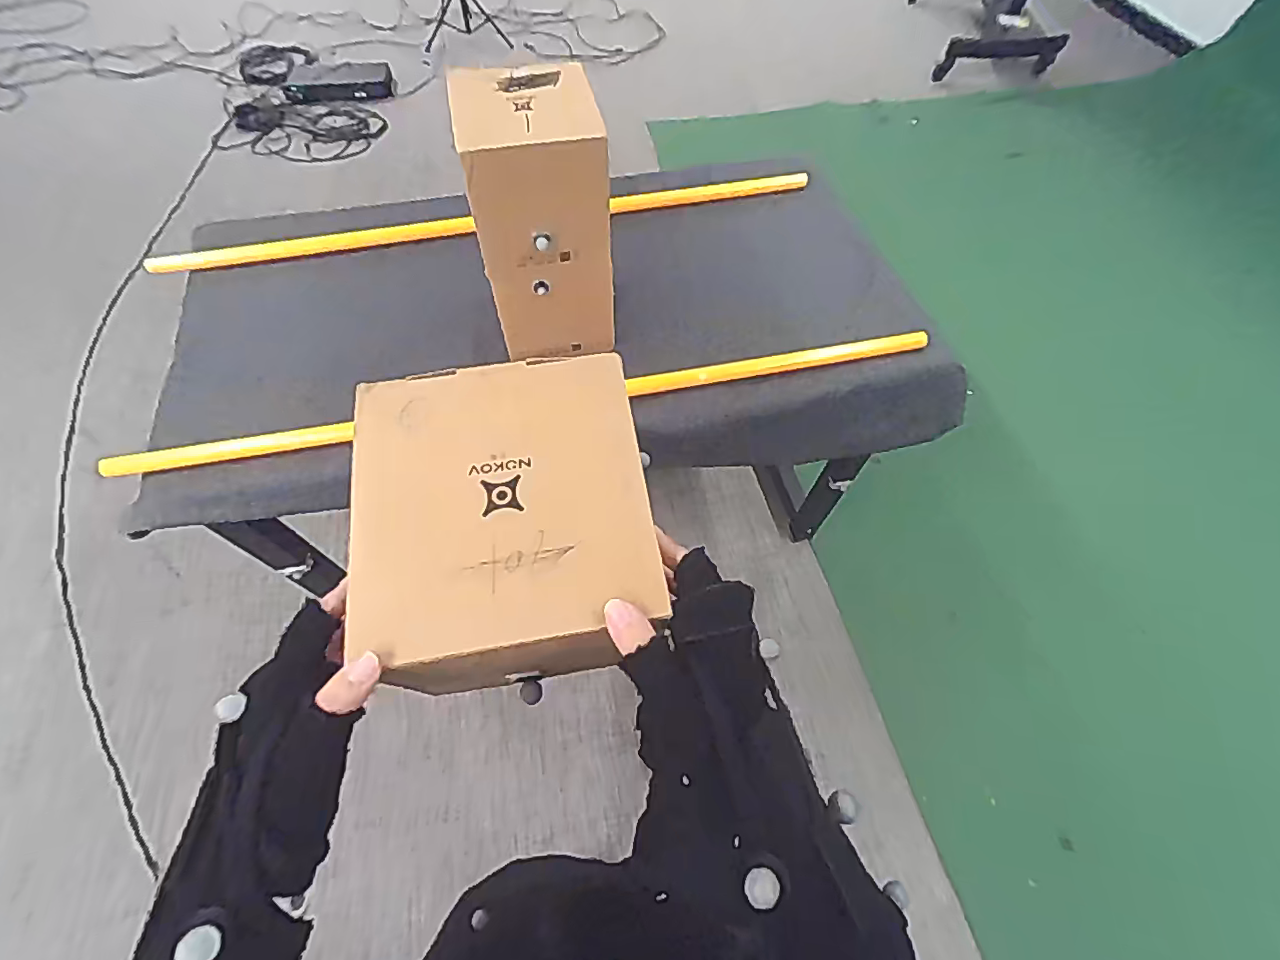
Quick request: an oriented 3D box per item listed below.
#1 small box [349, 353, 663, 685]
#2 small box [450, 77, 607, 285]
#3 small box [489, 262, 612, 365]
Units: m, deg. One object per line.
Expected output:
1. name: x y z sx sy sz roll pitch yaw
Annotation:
1. small box: -0.084 0.037 0.389 0.168 0.176 0.179 -8 65 -6
2. small box: -0.139 -0.383 0.699 0.168 0.176 0.179 -11 61 -8
3. small box: -0.140 -0.299 0.842 0.168 0.176 0.179 -11 60 -7
